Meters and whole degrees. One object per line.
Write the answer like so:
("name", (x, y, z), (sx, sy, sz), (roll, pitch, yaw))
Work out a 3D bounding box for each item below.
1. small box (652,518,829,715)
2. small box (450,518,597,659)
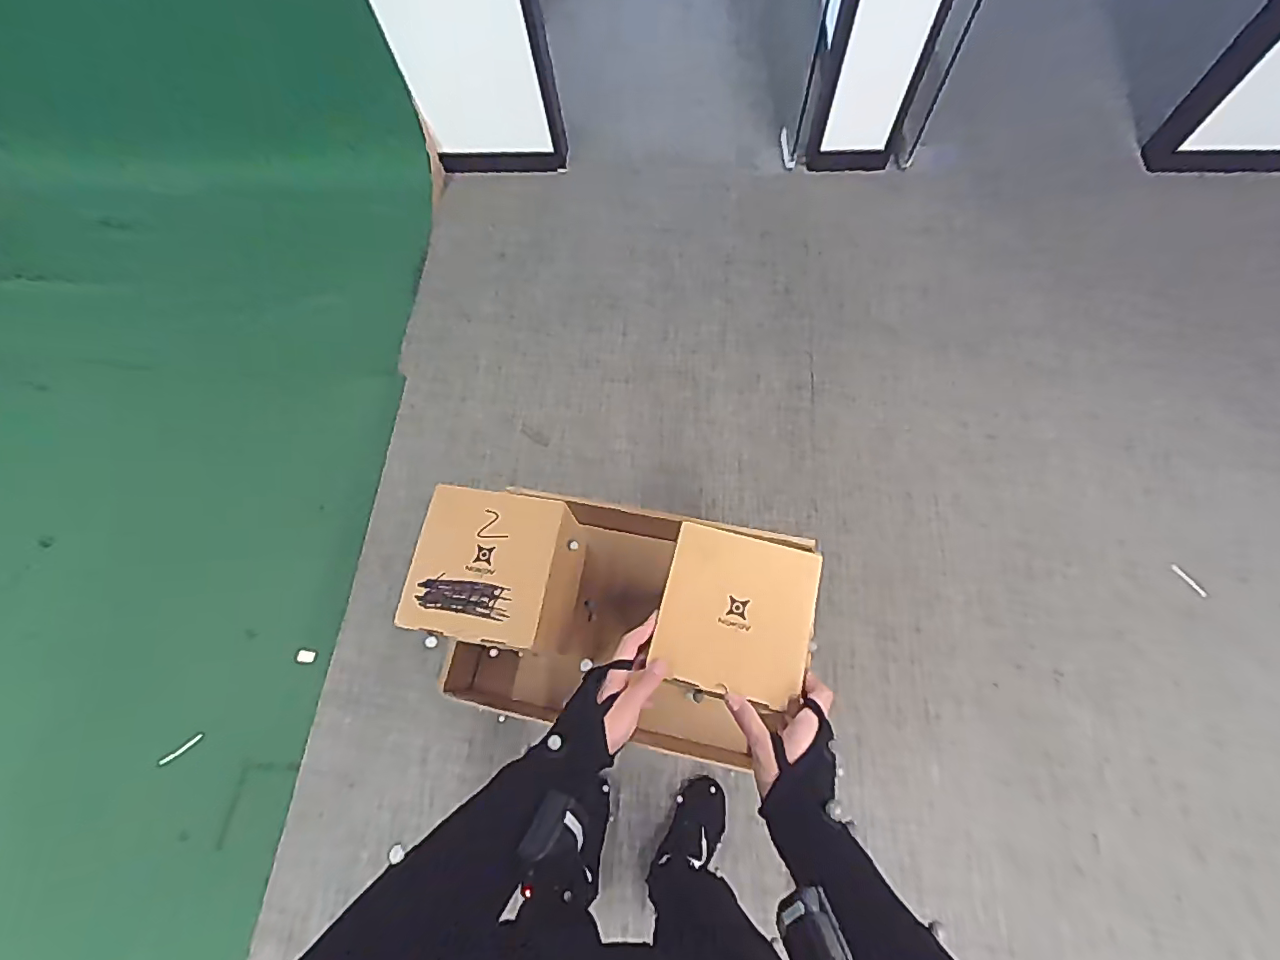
("small box", (0.111, 0.169, 0.659), (0.168, 0.176, 0.179), (14, 71, 6))
("small box", (-0.169, 0.176, 0.850), (0.168, 0.176, 0.179), (7, 70, 7))
